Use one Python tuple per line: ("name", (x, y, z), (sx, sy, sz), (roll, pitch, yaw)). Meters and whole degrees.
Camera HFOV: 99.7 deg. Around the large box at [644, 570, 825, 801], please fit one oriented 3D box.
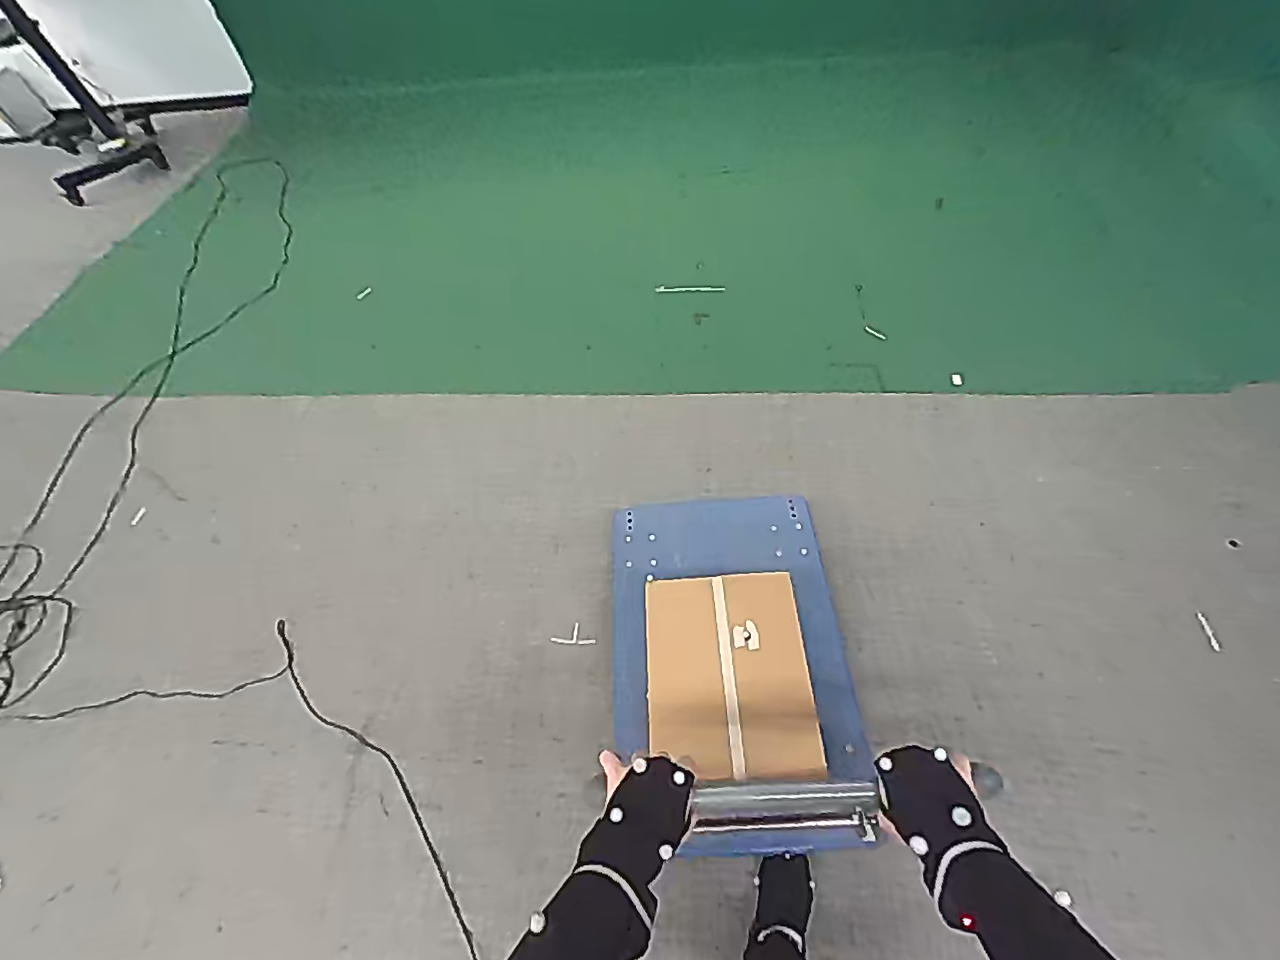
("large box", (0.187, 0.459, 1.199), (0.320, 0.320, 0.408), (-5, 54, 4))
